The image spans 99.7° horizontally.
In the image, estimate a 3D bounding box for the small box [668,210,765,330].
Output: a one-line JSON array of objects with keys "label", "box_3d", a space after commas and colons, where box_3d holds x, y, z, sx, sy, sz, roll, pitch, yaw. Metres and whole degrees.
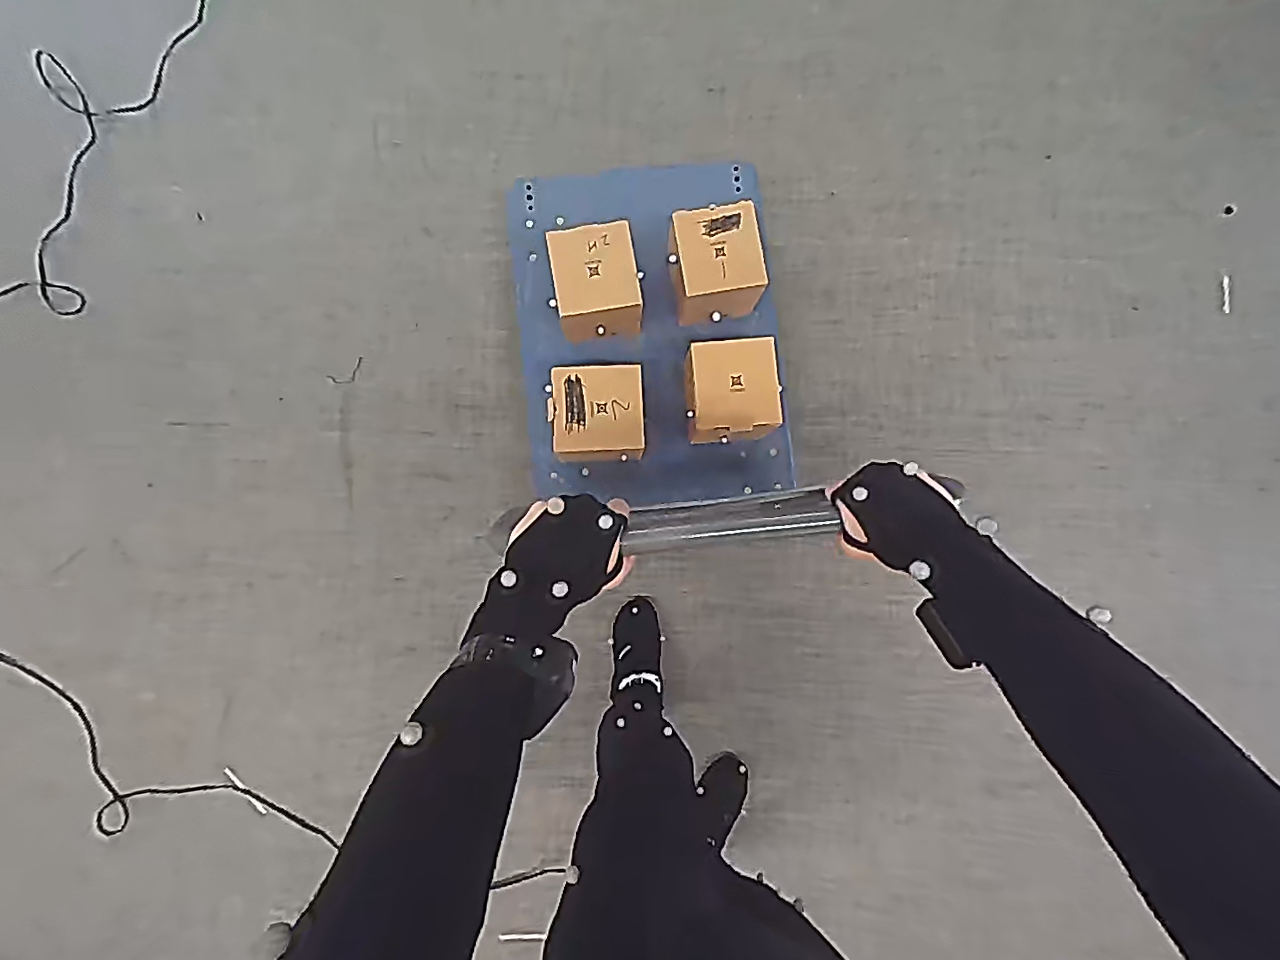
[{"label": "small box", "box_3d": [0.157, -0.444, 1.166, 0.168, 0.176, 0.179, -9, 87, -1]}]

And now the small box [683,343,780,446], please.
[{"label": "small box", "box_3d": [0.186, -0.176, 1.147, 0.168, 0.176, 0.179, -5, 86, -2]}]

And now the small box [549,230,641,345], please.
[{"label": "small box", "box_3d": [-0.091, -0.401, 1.157, 0.168, 0.176, 0.179, -9, 86, -3]}]
